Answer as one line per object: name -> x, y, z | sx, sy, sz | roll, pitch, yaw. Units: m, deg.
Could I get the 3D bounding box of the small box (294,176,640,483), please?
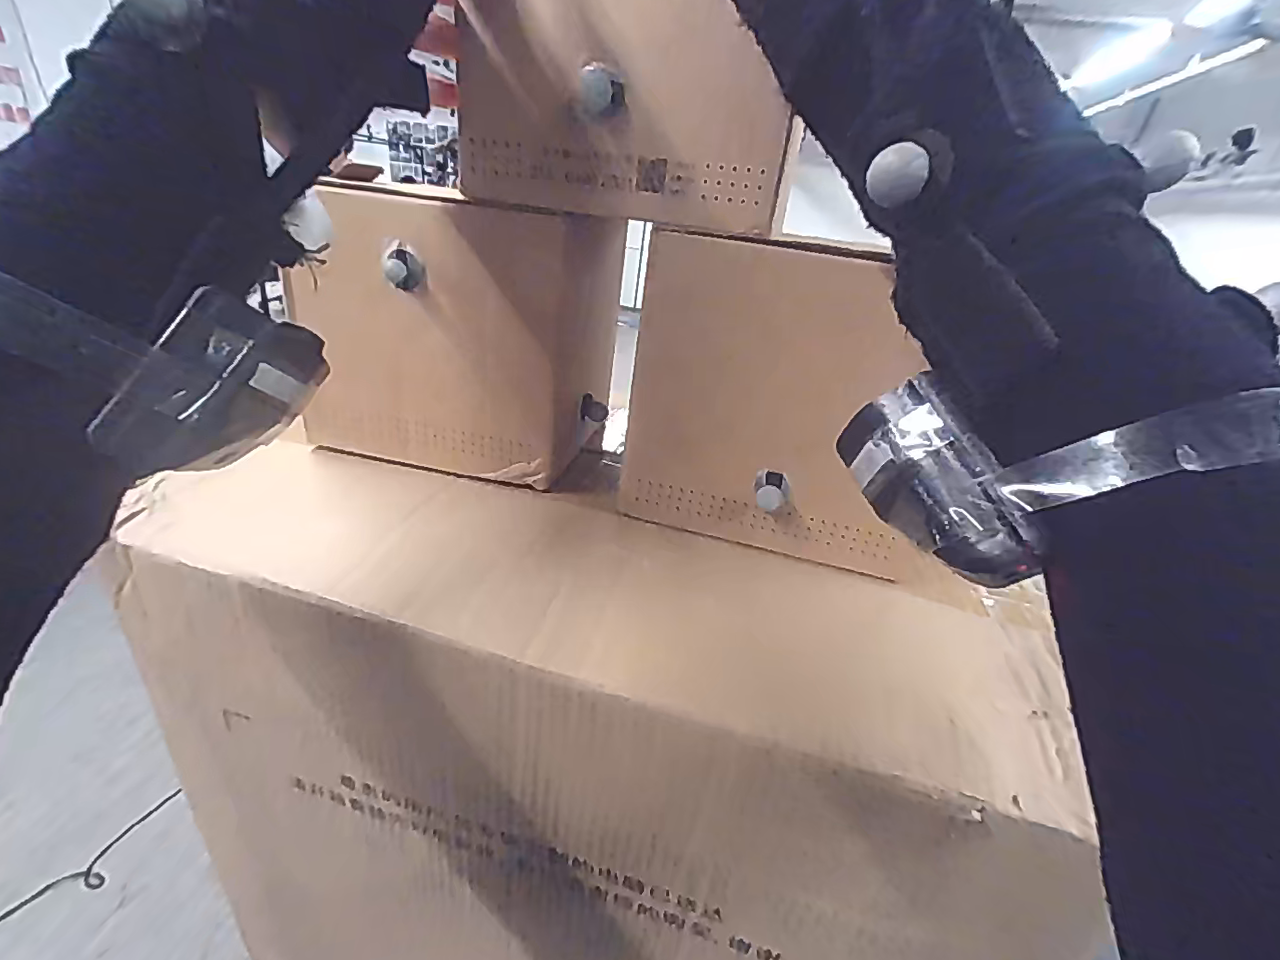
small box -> -0.108, -0.112, 0.400 | 0.179, 0.176, 0.168 | 12, 27, 6

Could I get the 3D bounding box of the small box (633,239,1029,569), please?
small box -> 0.105, -0.062, 0.364 | 0.179, 0.176, 0.168 | 12, 27, 10
